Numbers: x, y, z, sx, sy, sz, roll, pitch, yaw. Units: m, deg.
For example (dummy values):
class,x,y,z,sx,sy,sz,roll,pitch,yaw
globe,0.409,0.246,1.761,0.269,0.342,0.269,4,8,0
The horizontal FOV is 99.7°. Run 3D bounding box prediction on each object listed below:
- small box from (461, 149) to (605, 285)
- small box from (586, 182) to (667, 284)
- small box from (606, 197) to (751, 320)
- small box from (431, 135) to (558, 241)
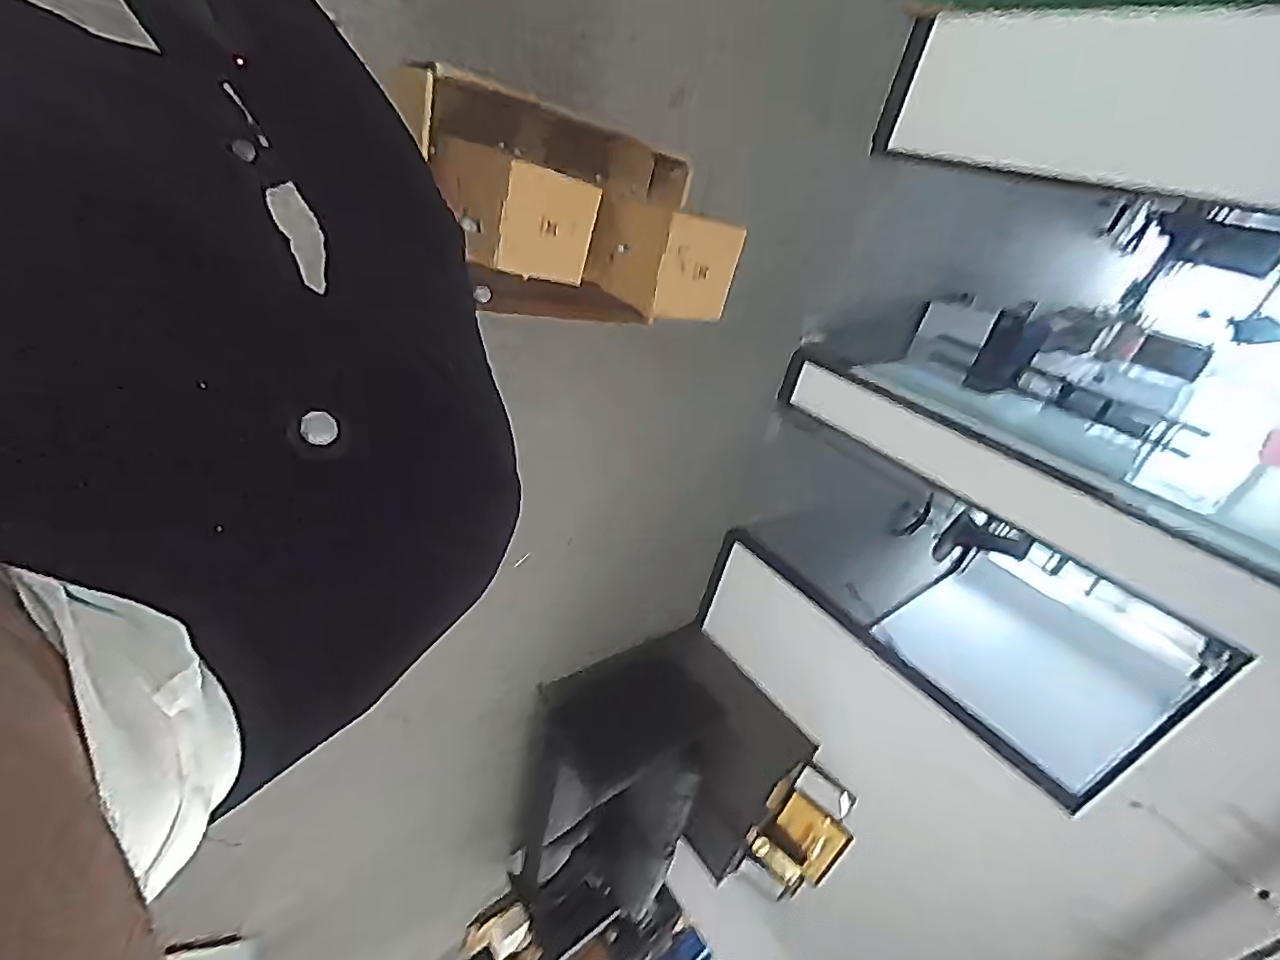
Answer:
class,x,y,z,sx,sy,sz,roll,pitch,yaw
small box,-0.195,-0.463,0.953,0.179,0.176,0.168,-7,127,-42
small box,-0.018,-0.493,1.106,0.179,0.176,0.168,-6,126,-37
small box,0.064,-0.405,0.991,0.179,0.176,0.168,-8,126,-36
small box,-0.289,-0.551,1.052,0.179,0.176,0.168,-9,127,-41
